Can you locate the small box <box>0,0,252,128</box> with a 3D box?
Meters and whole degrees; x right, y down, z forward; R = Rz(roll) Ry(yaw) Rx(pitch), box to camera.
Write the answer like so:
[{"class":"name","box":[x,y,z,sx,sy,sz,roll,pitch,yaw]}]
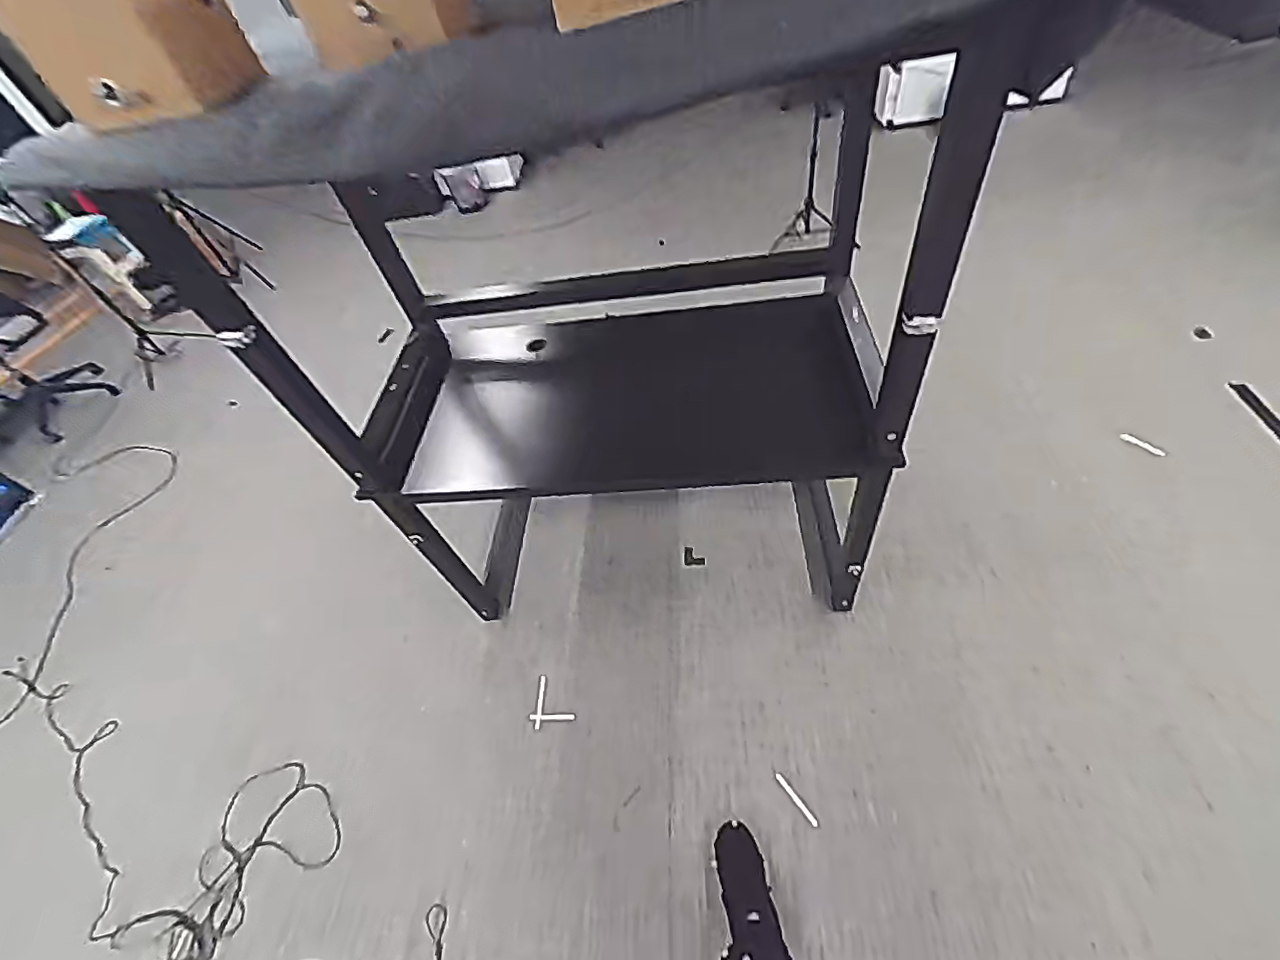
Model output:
[{"class":"small box","box":[-0.623,-0.556,0.654,0.168,0.176,0.179,-6,50,7]}]
